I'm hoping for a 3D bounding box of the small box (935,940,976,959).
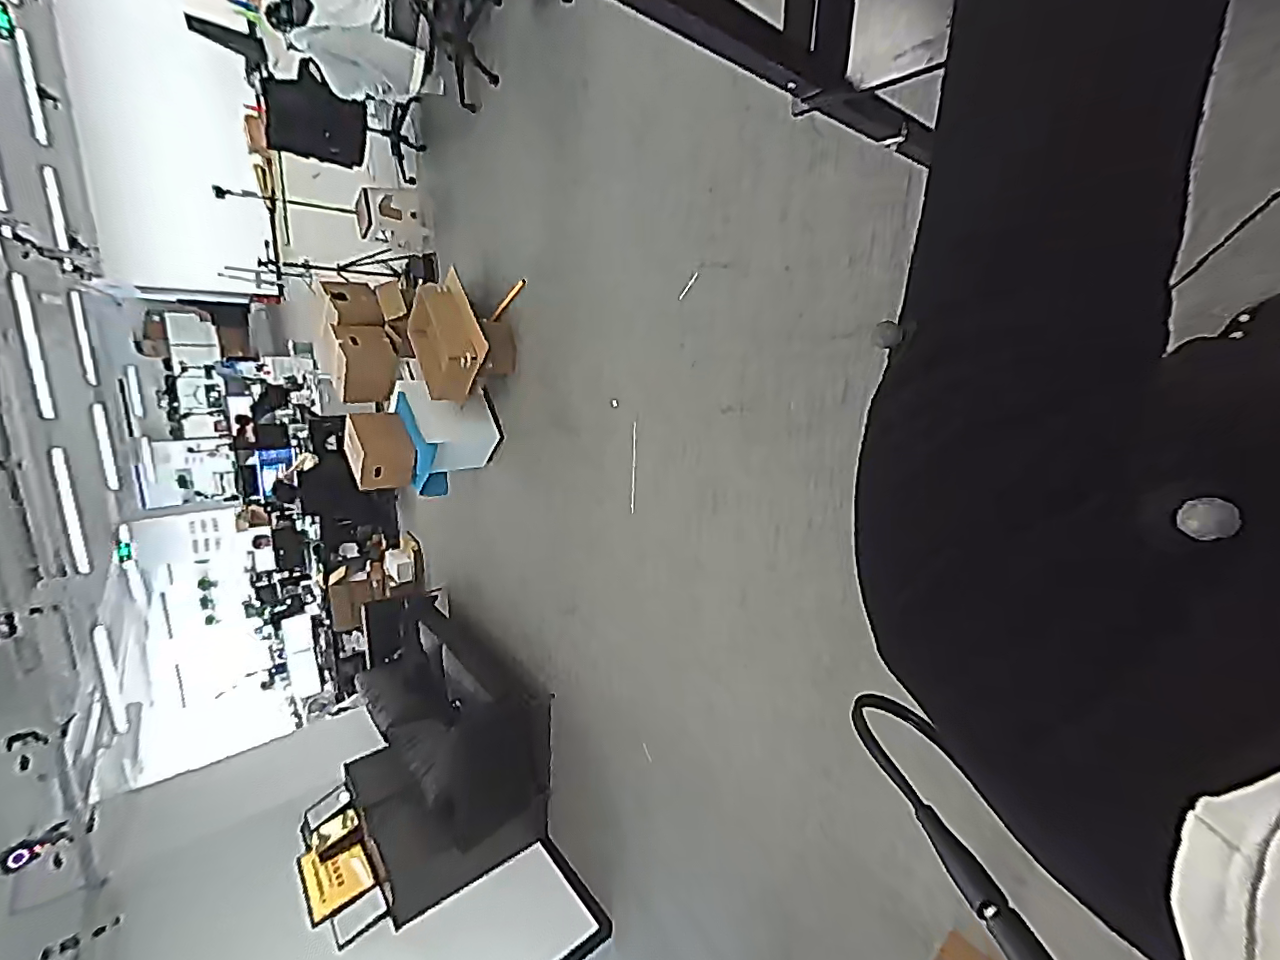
[{"bbox_3d":[0.973,1.564,1.633,0.179,0.176,0.168,19,111,48],"label":"small box"}]
